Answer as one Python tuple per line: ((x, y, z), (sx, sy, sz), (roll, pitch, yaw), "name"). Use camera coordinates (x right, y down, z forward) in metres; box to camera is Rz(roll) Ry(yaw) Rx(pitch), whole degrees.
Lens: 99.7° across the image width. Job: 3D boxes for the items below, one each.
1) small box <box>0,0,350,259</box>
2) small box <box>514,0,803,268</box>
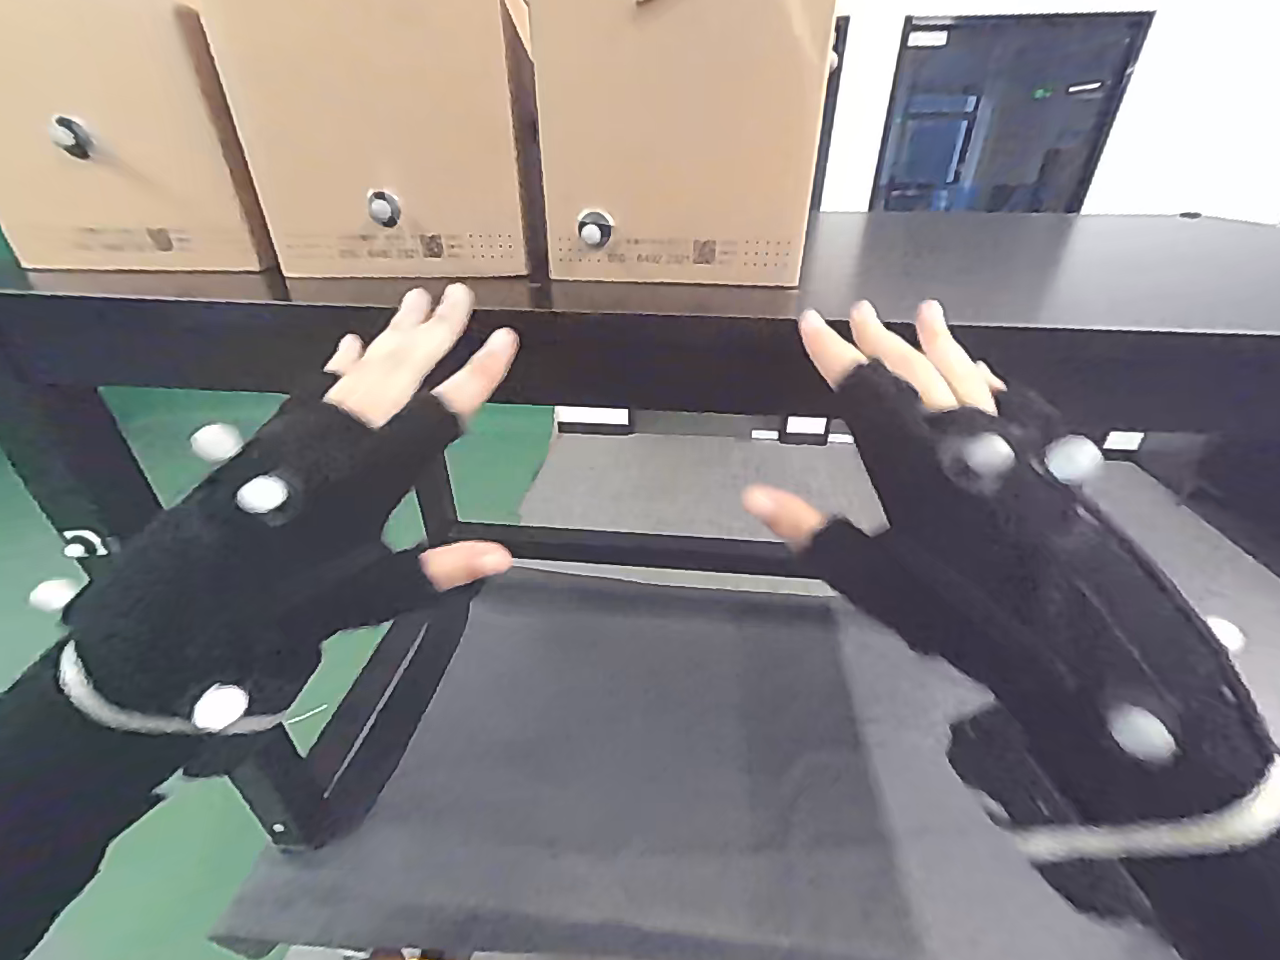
((-0.357, -0.274, 0.425), (0.168, 0.176, 0.179), (1, 30, -2), "small box")
((0.023, -0.257, 0.398), (0.168, 0.176, 0.179), (4, 30, 7), "small box")
